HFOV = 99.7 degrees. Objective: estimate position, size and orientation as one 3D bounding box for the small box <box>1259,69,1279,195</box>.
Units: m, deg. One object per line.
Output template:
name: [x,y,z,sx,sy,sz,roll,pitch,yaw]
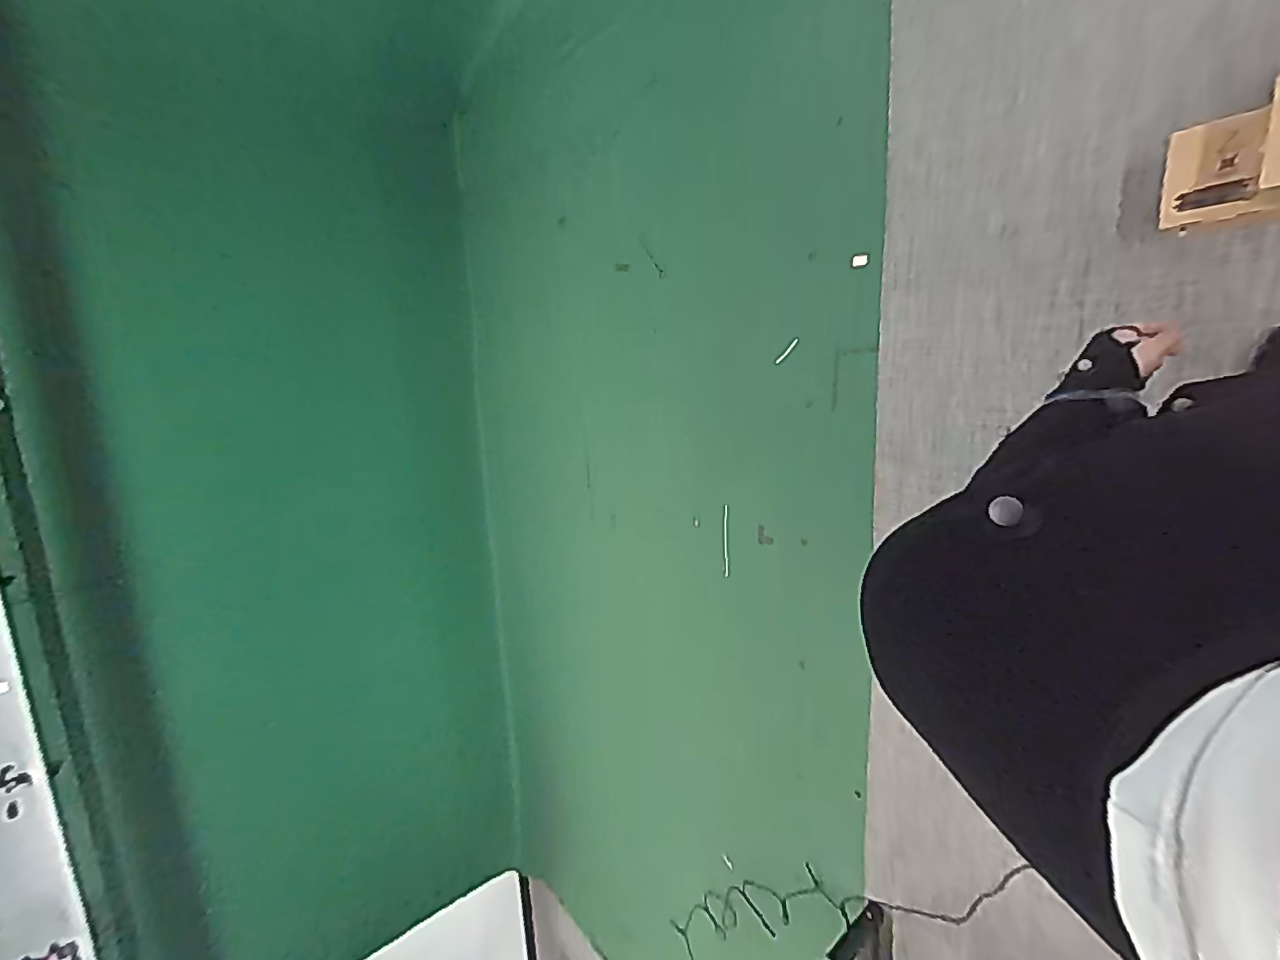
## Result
small box: [1.089,-0.552,0.819,0.179,0.176,0.168,12,107,50]
